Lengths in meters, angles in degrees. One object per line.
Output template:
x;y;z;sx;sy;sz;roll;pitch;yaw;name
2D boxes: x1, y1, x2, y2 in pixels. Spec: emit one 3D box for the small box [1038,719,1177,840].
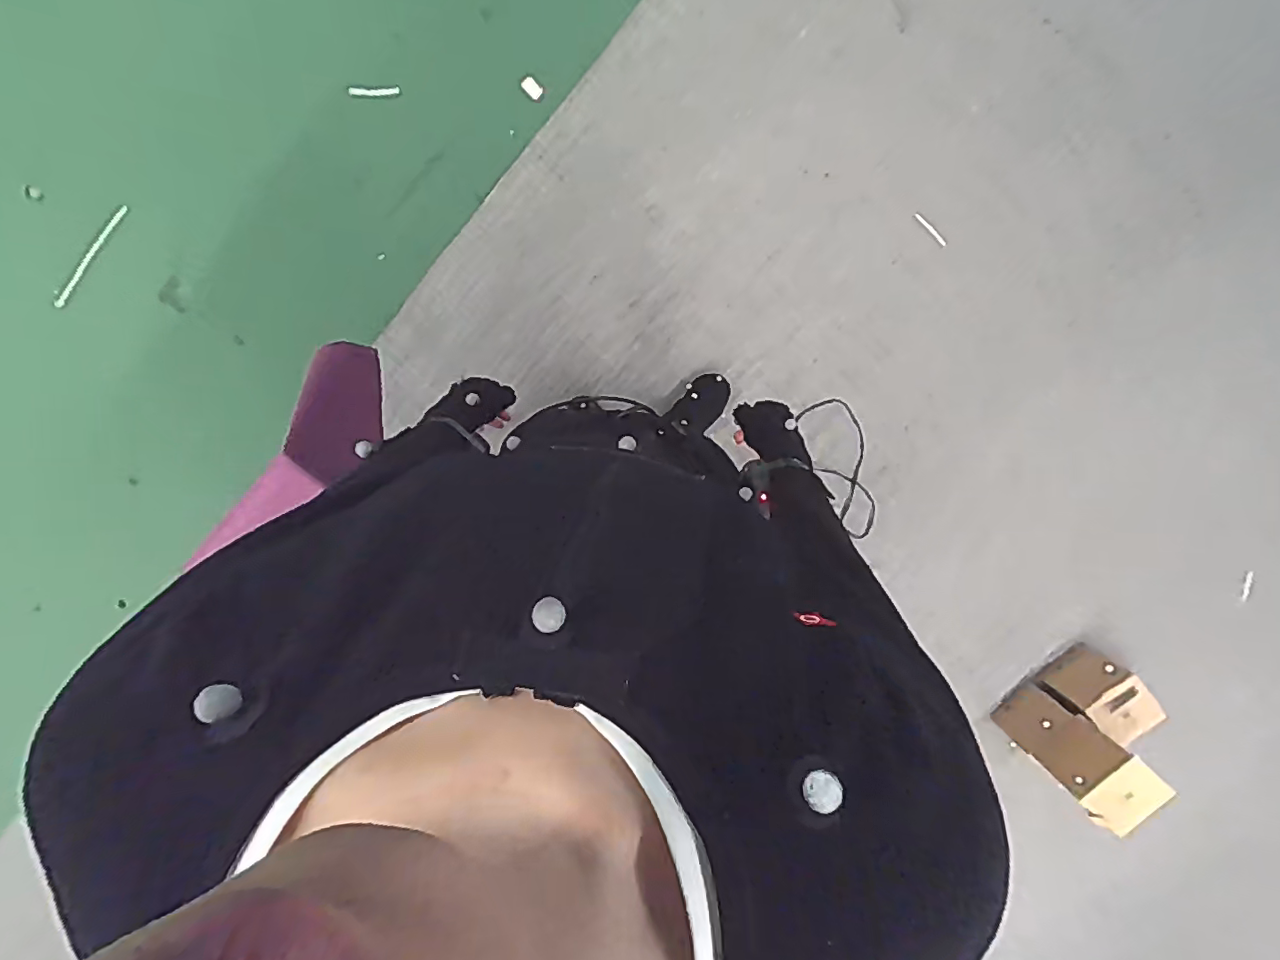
1.191;0.762;1.394;0.168;0.176;0.179;40;98;-7;small box
